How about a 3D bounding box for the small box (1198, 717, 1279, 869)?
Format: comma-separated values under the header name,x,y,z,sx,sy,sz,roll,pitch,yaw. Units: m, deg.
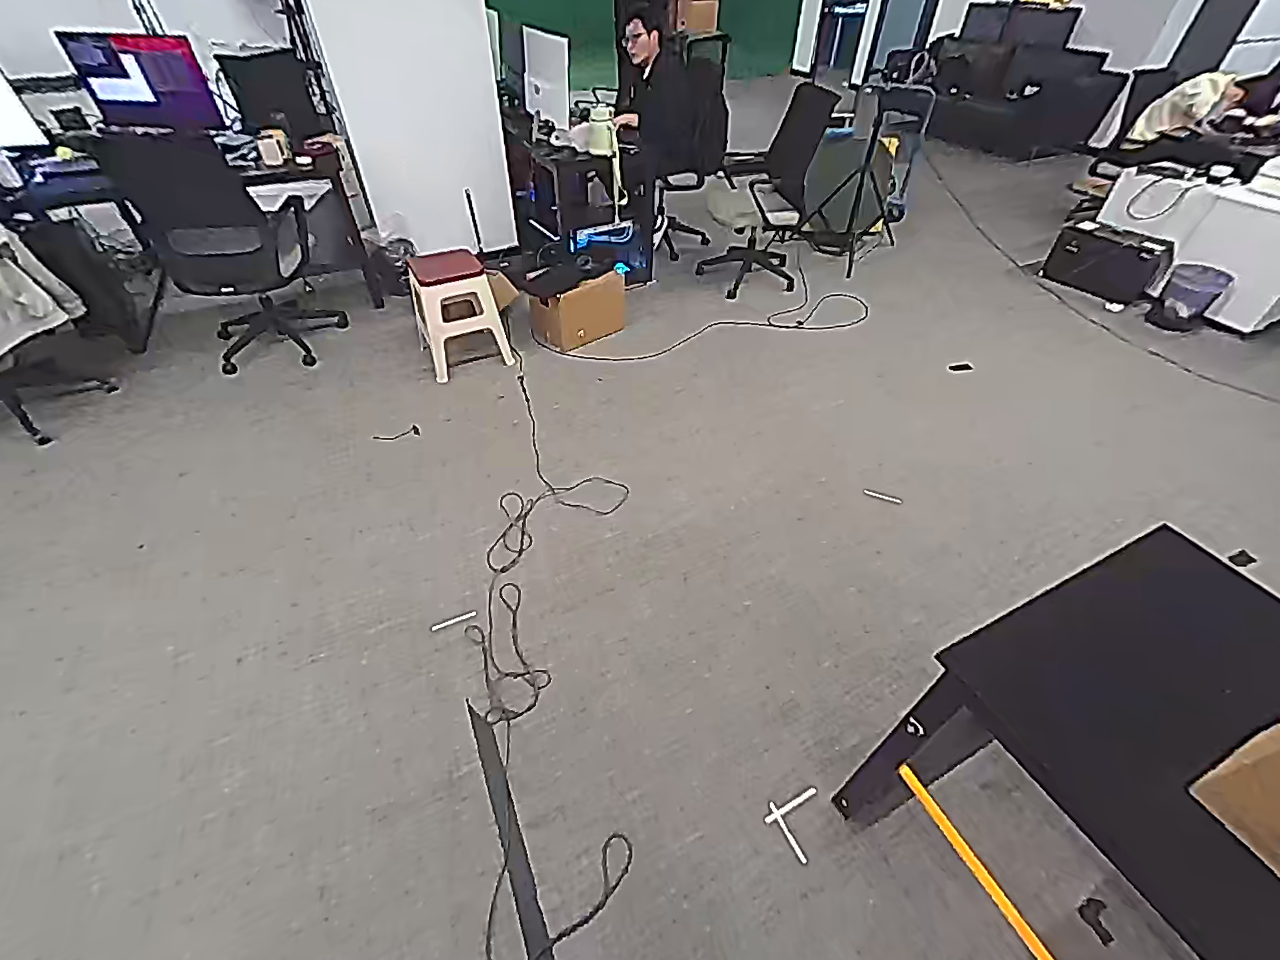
name,x,y,z,sx,sy,sz,roll,pitch,yaw
small box,0.823,0.362,0.620,0.179,0.176,0.168,-18,47,-18
